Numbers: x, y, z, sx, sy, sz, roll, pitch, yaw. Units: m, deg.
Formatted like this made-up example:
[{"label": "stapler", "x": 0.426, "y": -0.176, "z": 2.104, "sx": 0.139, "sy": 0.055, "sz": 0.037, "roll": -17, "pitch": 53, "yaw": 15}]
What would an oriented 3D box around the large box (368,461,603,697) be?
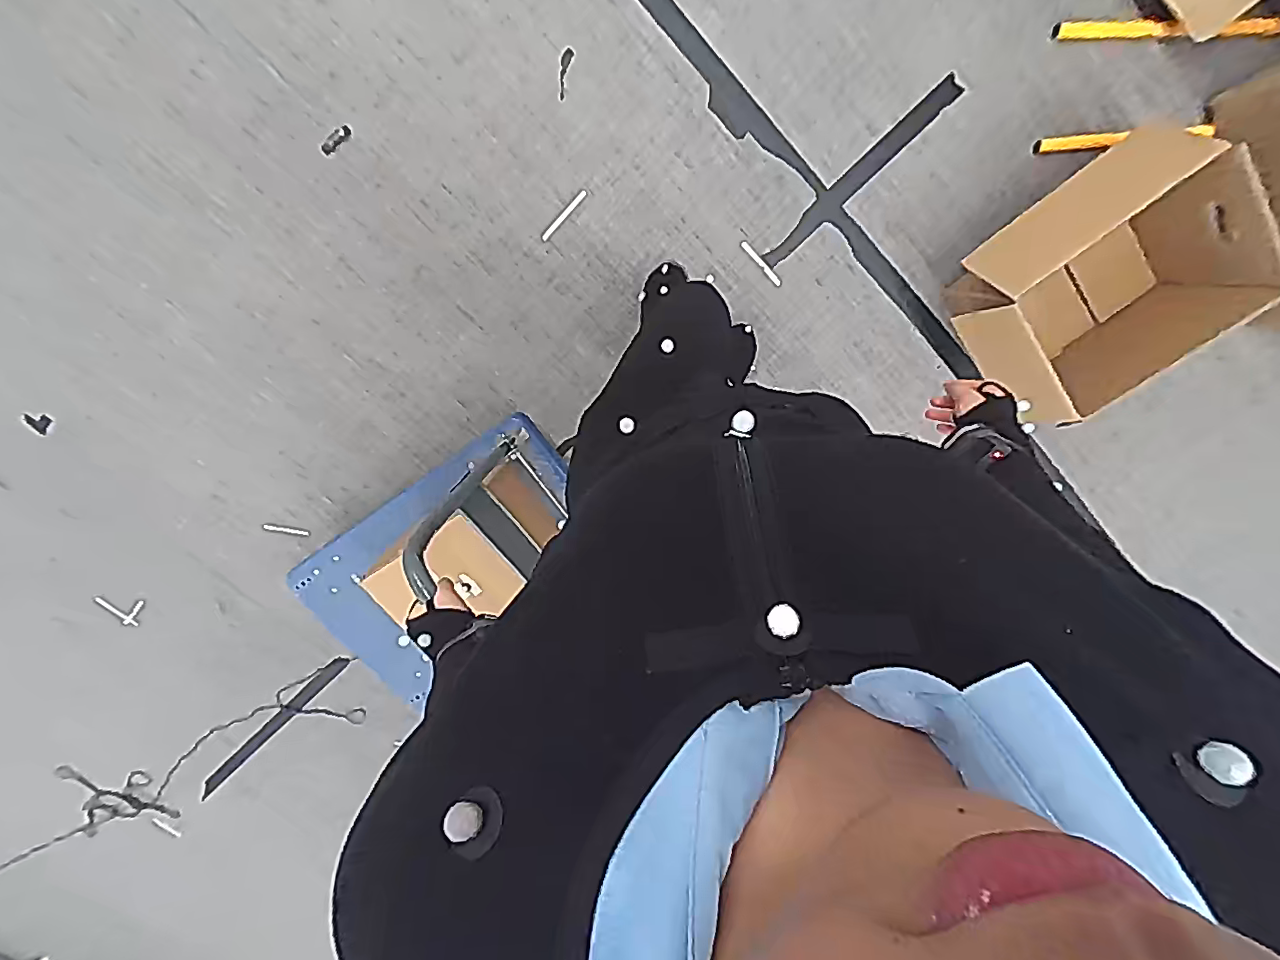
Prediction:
[{"label": "large box", "x": -0.342, "y": 0.230, "z": 1.316, "sx": 0.320, "sy": 0.320, "sz": 0.408, "roll": -32, "pitch": 105, "yaw": 14}]
